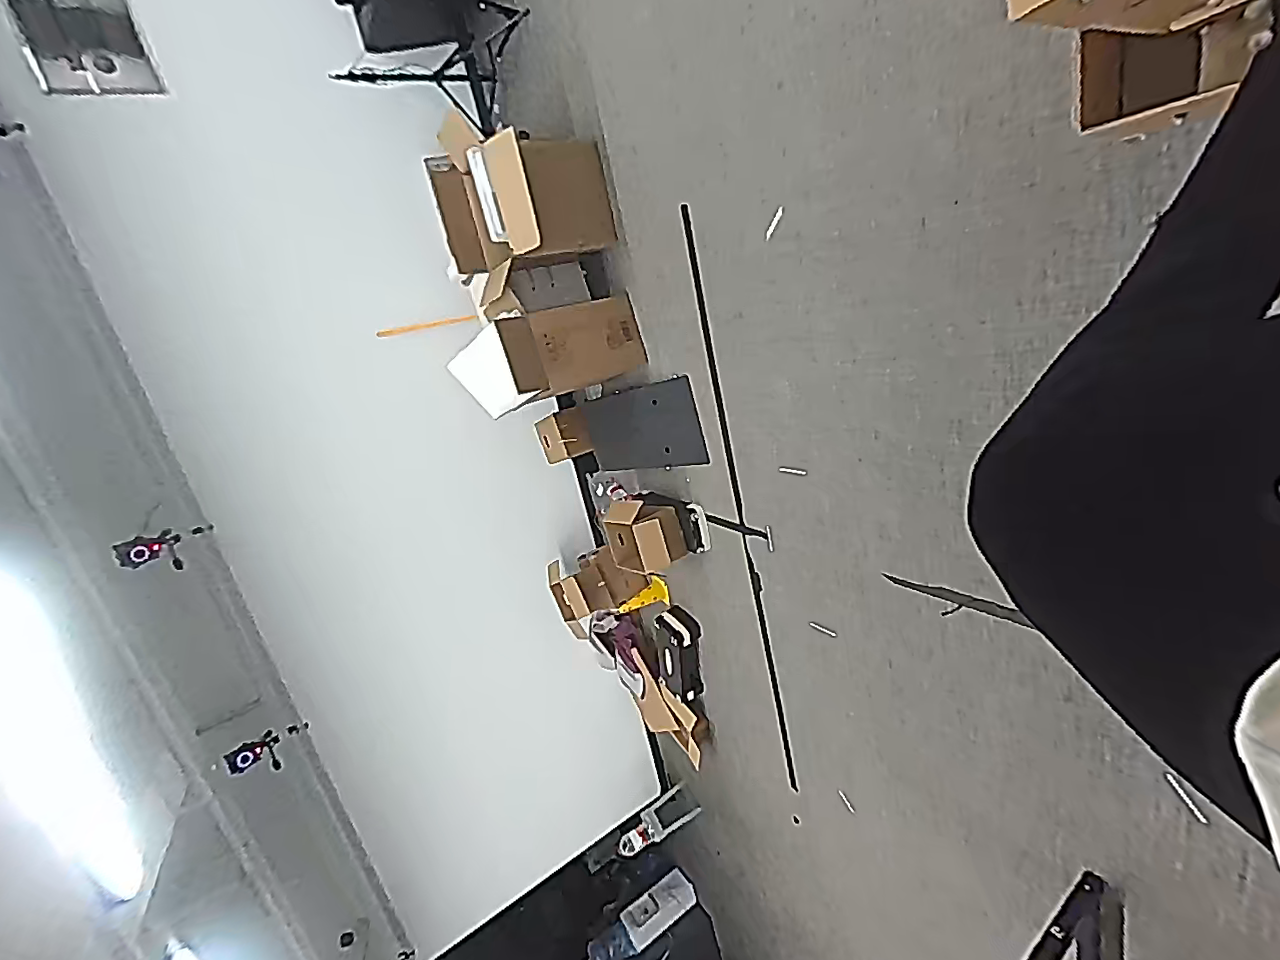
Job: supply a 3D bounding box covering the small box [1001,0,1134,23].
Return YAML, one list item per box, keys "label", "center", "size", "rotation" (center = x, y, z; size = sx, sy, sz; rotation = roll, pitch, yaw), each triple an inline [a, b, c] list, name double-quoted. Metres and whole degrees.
- label: "small box"
  center: [0.483, -0.595, 0.529]
  size: [0.168, 0.176, 0.179]
  rotation: [14, 120, 61]

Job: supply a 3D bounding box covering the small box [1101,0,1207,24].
- label: "small box"
  center: [0.626, -0.648, 0.596]
  size: [0.168, 0.176, 0.179]
  rotation: [13, 120, 60]
